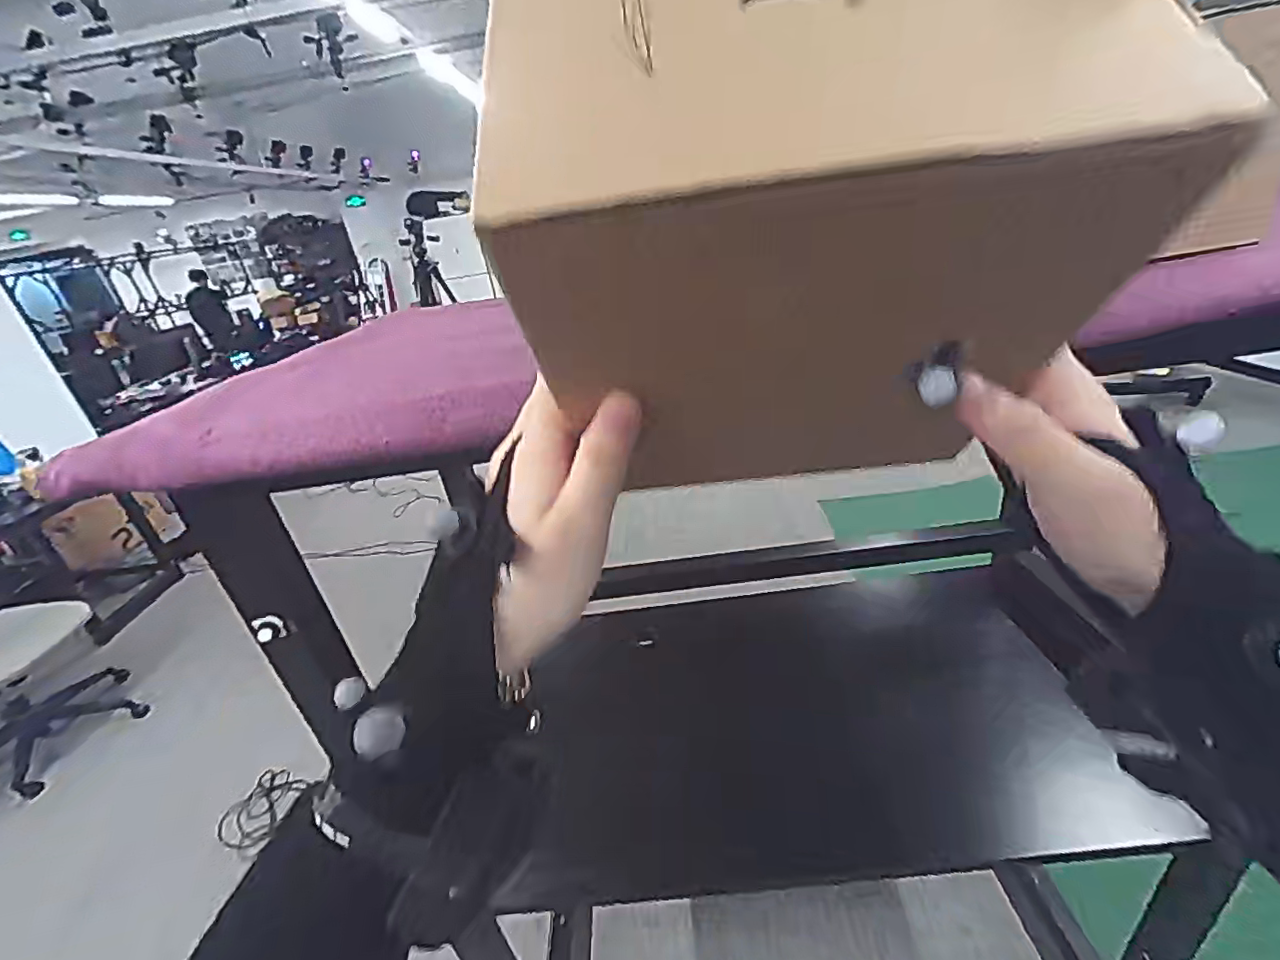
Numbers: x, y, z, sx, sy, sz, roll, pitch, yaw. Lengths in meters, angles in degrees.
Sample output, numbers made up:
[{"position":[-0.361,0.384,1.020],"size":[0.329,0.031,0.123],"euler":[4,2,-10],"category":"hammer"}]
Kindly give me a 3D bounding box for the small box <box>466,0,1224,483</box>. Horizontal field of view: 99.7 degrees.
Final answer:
[{"position":[0.048,-0.110,0.229],"size":[0.179,0.176,0.168],"euler":[-6,65,5],"category":"small box"}]

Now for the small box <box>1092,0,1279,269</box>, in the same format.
[{"position":[0.414,-0.289,0.492],"size":[0.179,0.176,0.168],"euler":[-7,25,4],"category":"small box"}]
